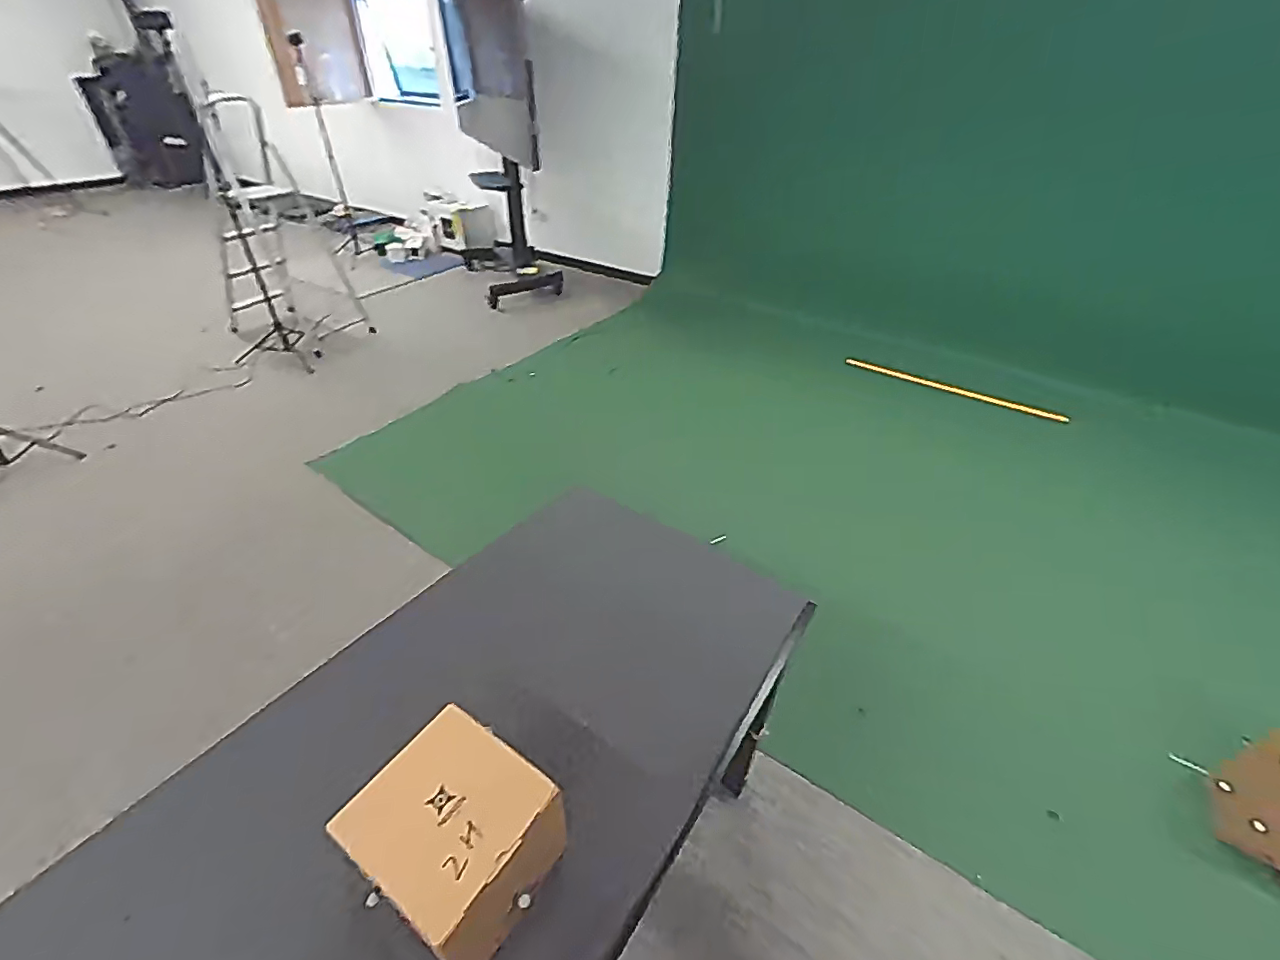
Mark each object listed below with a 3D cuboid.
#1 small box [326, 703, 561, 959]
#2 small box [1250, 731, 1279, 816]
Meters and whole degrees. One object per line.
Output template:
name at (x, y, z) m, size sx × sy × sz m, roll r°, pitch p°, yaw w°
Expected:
small box at (-0.209, 0.402, 0.614) m, size 0.179 × 0.176 × 0.168 m, roll 23°, pitch 43°, yaw 26°
small box at (1.573, 0.693, 1.242) m, size 0.168 × 0.176 × 0.179 m, roll 24°, pitch 42°, yaw 25°
